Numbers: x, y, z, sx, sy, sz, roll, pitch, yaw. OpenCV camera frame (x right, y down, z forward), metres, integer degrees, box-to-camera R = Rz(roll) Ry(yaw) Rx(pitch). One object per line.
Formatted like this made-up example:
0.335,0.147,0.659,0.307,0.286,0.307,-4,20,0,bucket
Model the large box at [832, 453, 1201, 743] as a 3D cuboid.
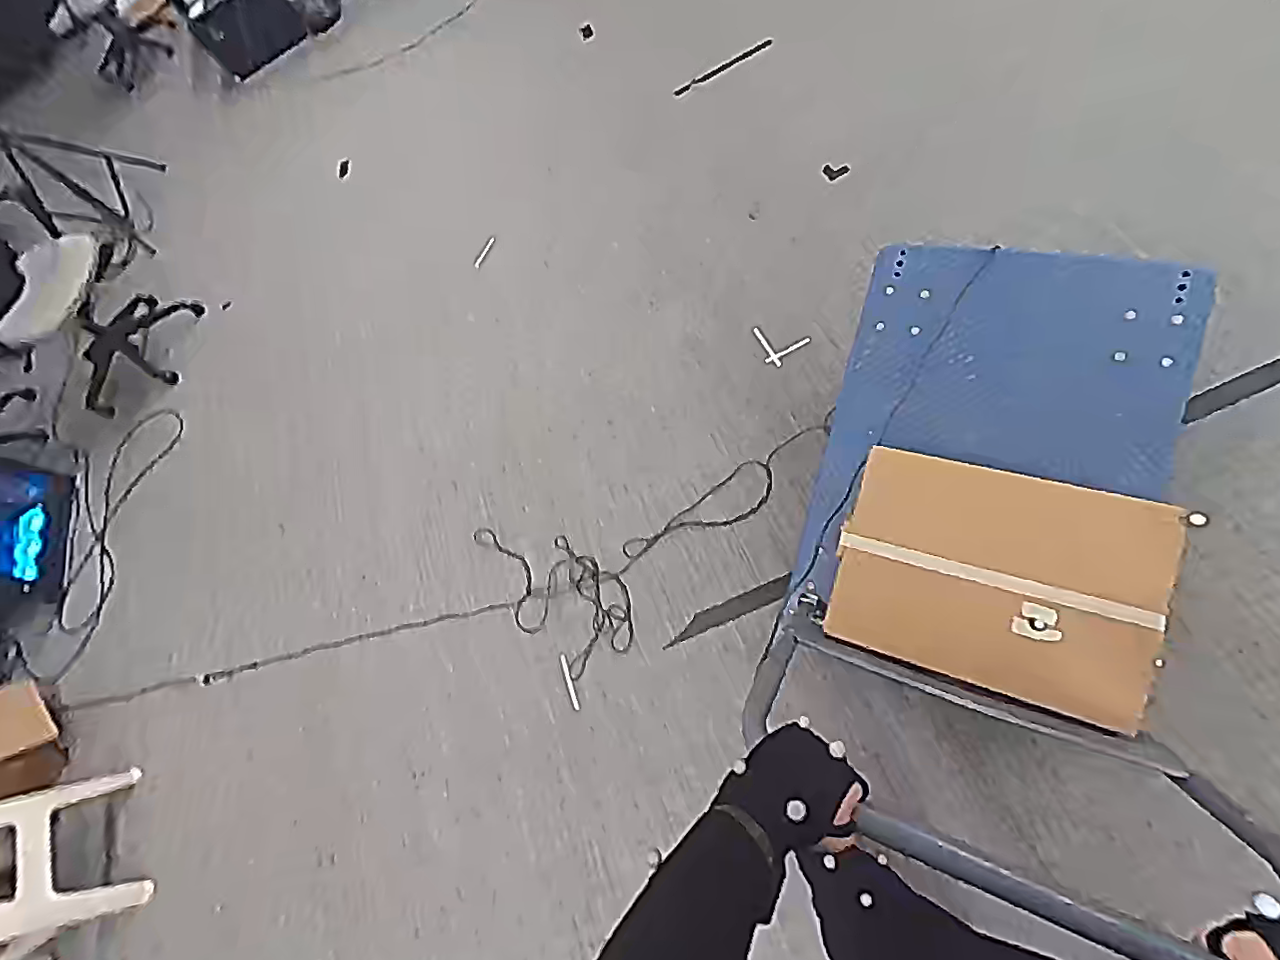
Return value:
0.561,0.167,0.905,0.408,0.320,0.320,15,89,22,large box
